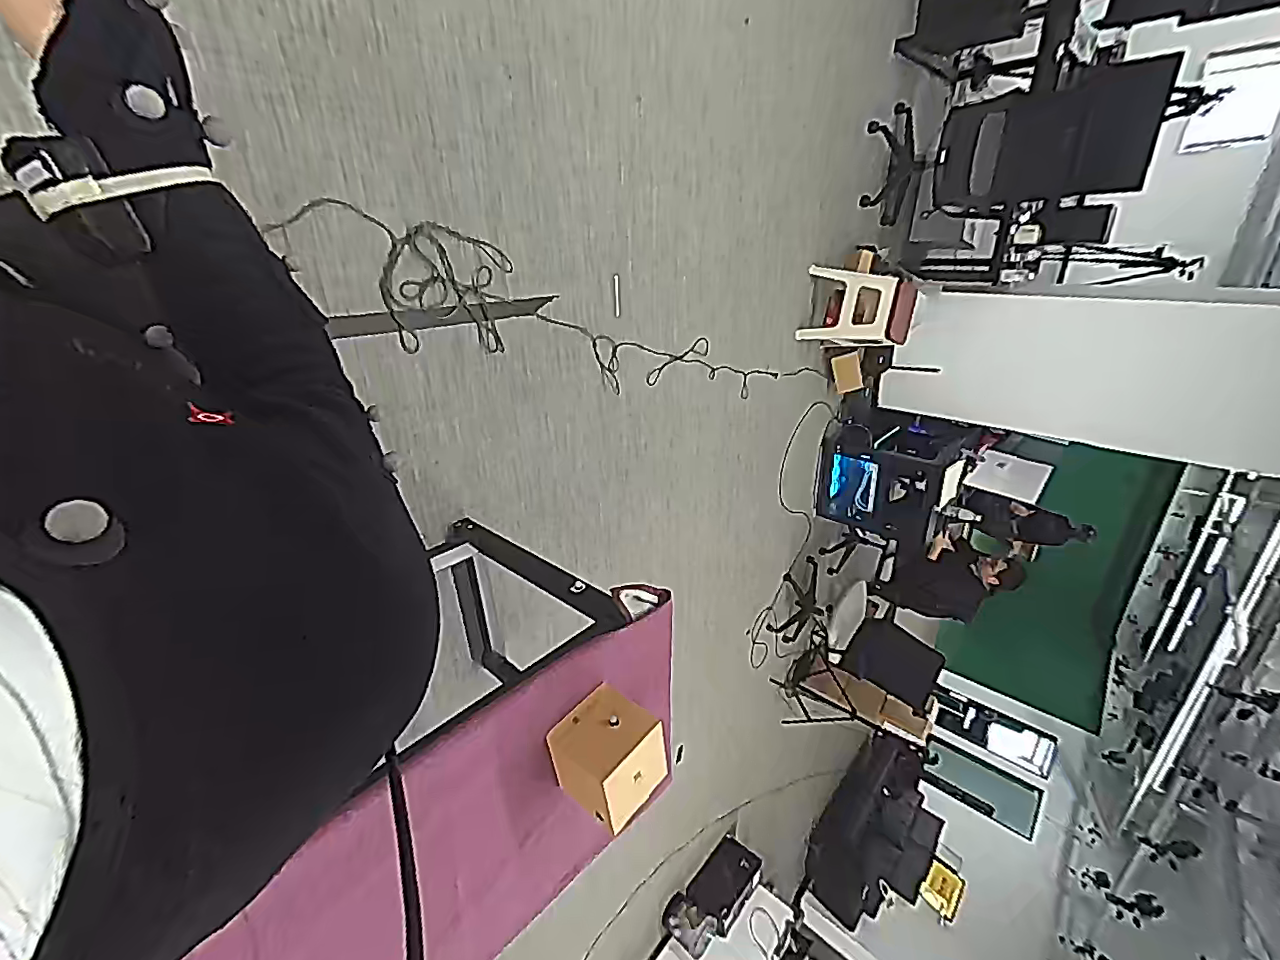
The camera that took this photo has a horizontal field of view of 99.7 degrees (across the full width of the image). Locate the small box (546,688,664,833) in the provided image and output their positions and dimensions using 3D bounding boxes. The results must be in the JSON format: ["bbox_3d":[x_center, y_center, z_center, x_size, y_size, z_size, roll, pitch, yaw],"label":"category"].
[{"bbox_3d":[-0.071,0.557,1.103,0.168,0.176,0.179,-32,128,-38],"label":"small box"}]
